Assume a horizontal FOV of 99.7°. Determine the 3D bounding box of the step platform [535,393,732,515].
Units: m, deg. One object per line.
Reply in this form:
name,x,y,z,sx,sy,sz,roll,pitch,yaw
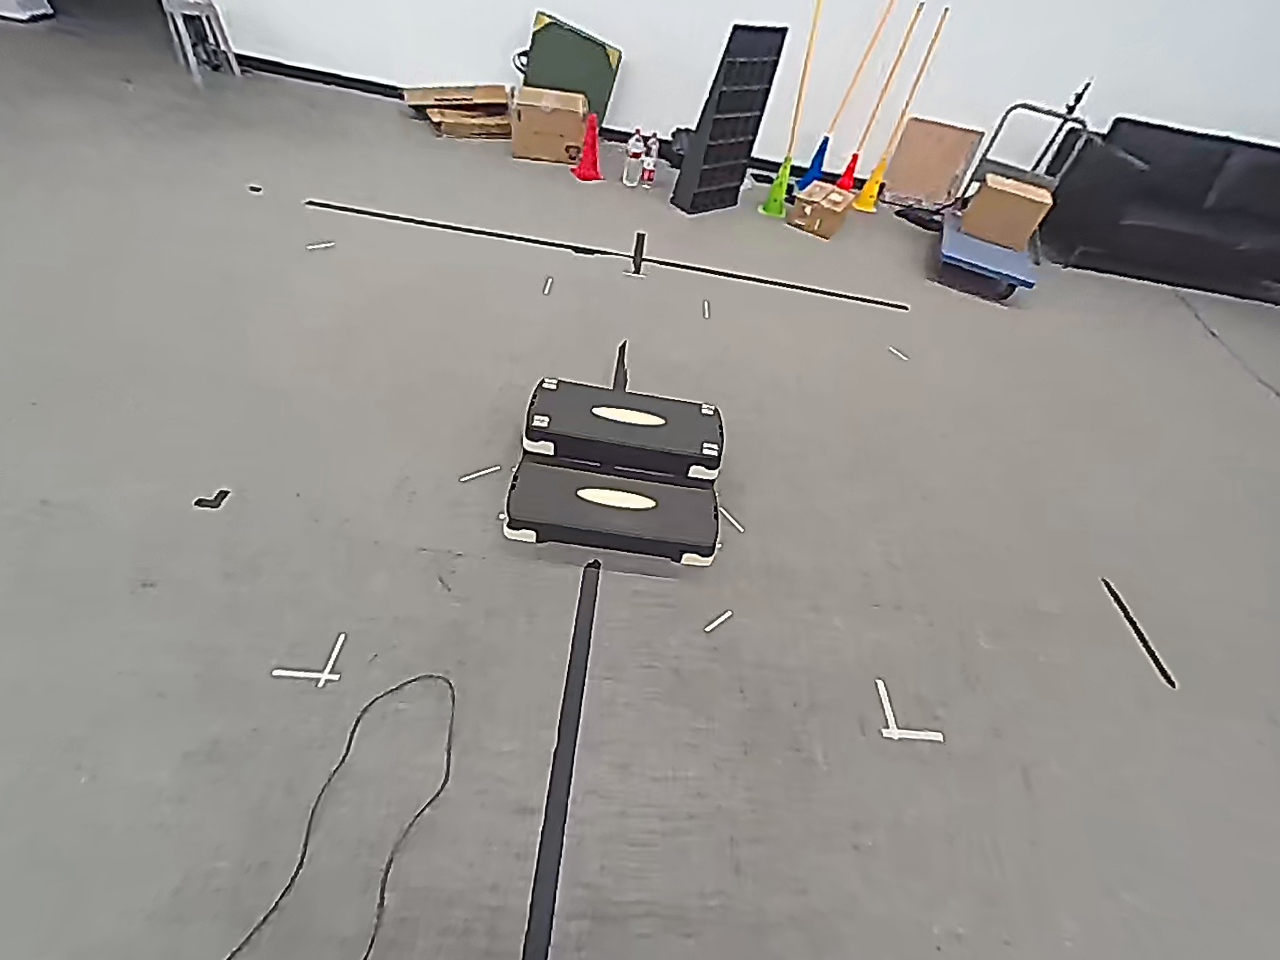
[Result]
step platform,-0.019,-0.096,1.909,0.684,0.204,0.286,12,46,-2
